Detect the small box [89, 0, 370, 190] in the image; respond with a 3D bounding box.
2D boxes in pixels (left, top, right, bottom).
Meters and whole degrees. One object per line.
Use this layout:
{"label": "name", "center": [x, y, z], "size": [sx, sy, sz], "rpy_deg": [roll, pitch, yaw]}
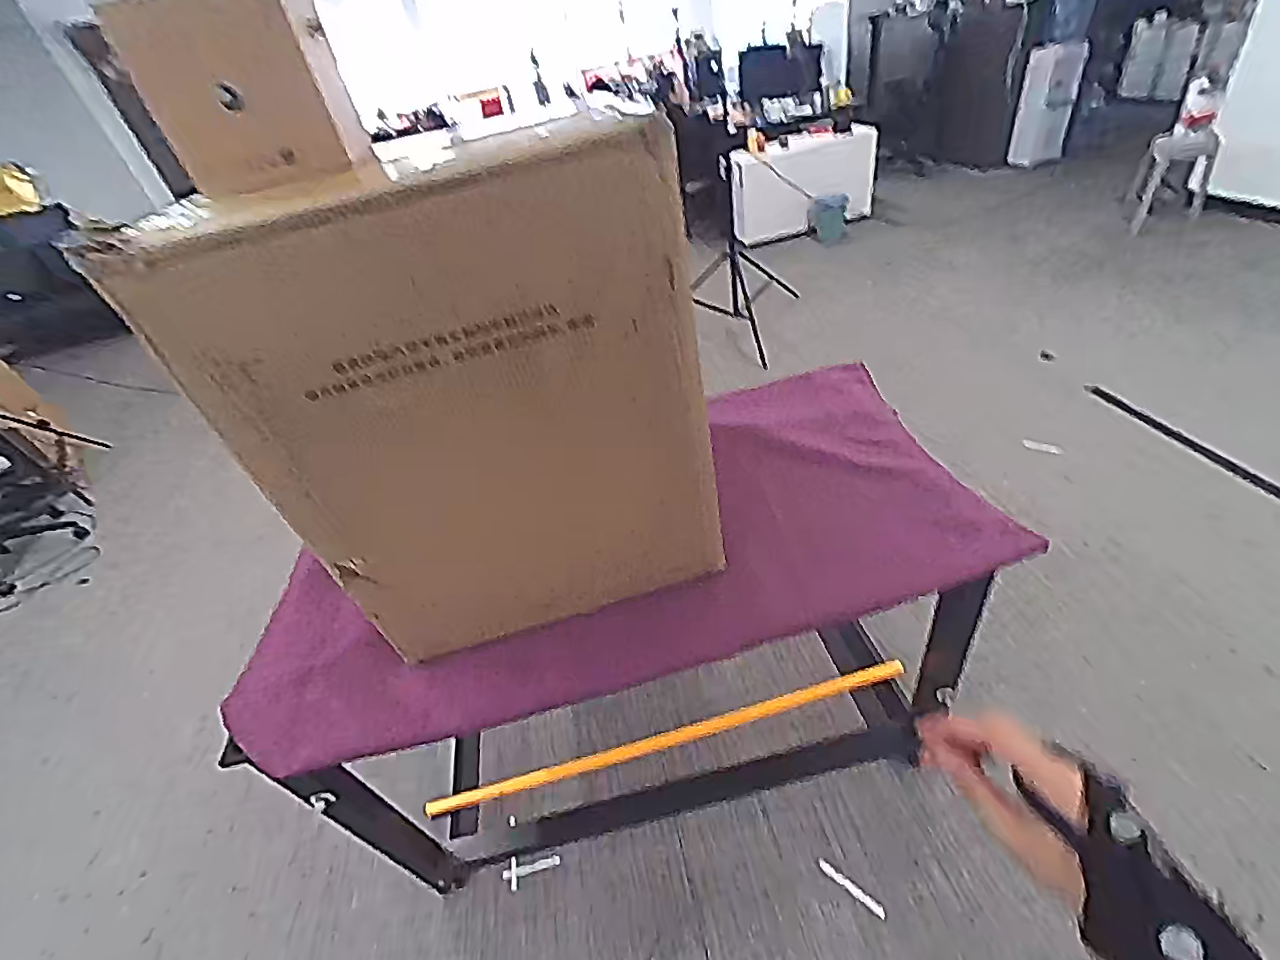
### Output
{"label": "small box", "center": [-0.432, -0.444, 0.613], "size": [0.168, 0.176, 0.179], "rpy_deg": [-15, 39, -5]}
